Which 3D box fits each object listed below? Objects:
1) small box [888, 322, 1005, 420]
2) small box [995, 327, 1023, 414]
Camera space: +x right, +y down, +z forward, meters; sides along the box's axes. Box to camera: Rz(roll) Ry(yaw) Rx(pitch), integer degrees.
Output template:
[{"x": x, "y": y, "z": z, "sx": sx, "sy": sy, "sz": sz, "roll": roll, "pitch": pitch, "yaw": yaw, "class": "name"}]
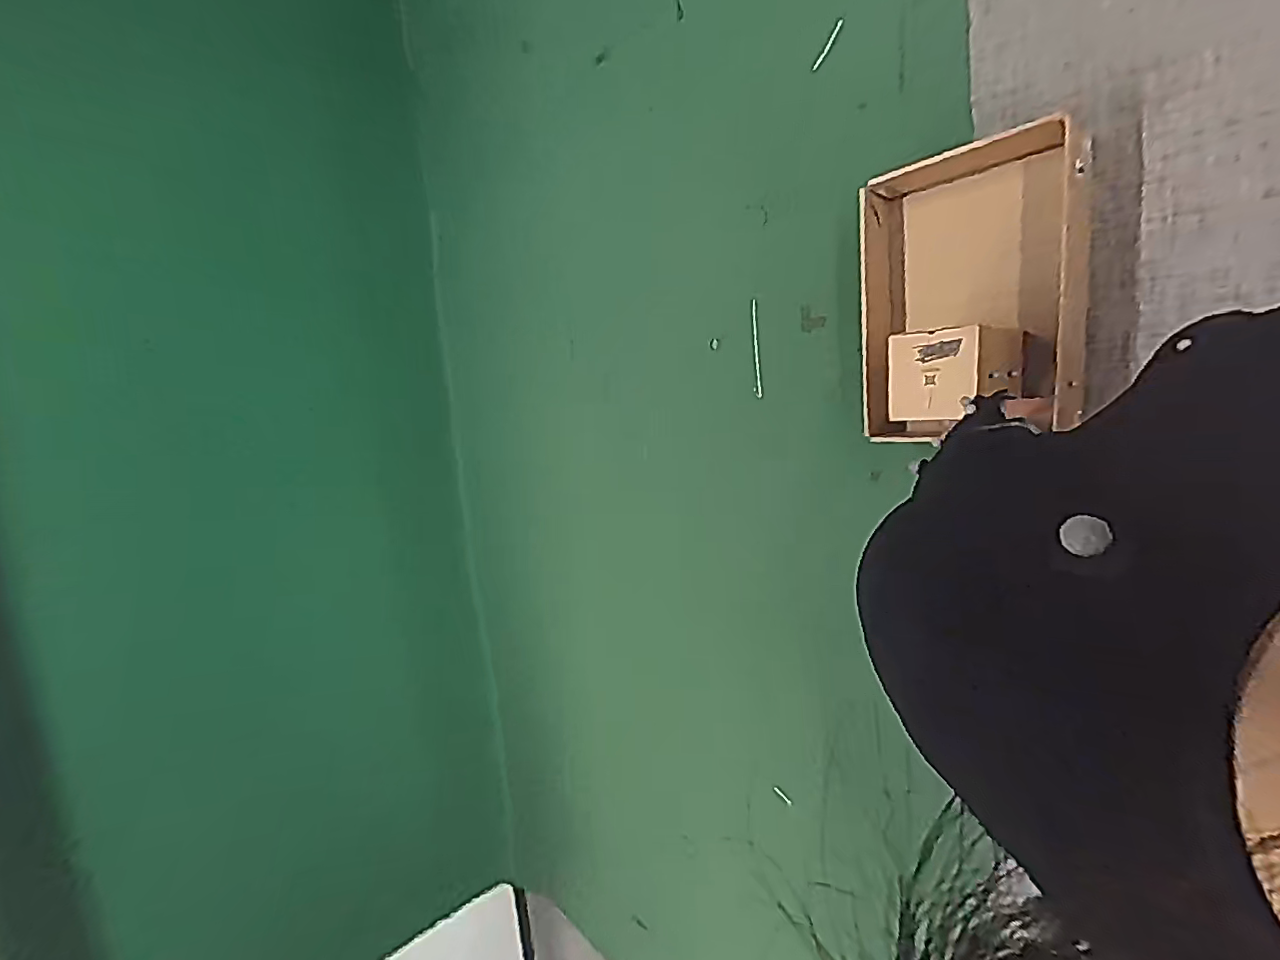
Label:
[{"x": 0.621, "y": -0.215, "z": 1.095, "sx": 0.168, "sy": 0.176, "sz": 0.179, "roll": 5, "pitch": 102, "yaw": 47, "class": "small box"}, {"x": 0.739, "y": -0.237, "z": 1.207, "sx": 0.168, "sy": 0.176, "sz": 0.179, "roll": 3, "pitch": 100, "yaw": 47, "class": "small box"}]
